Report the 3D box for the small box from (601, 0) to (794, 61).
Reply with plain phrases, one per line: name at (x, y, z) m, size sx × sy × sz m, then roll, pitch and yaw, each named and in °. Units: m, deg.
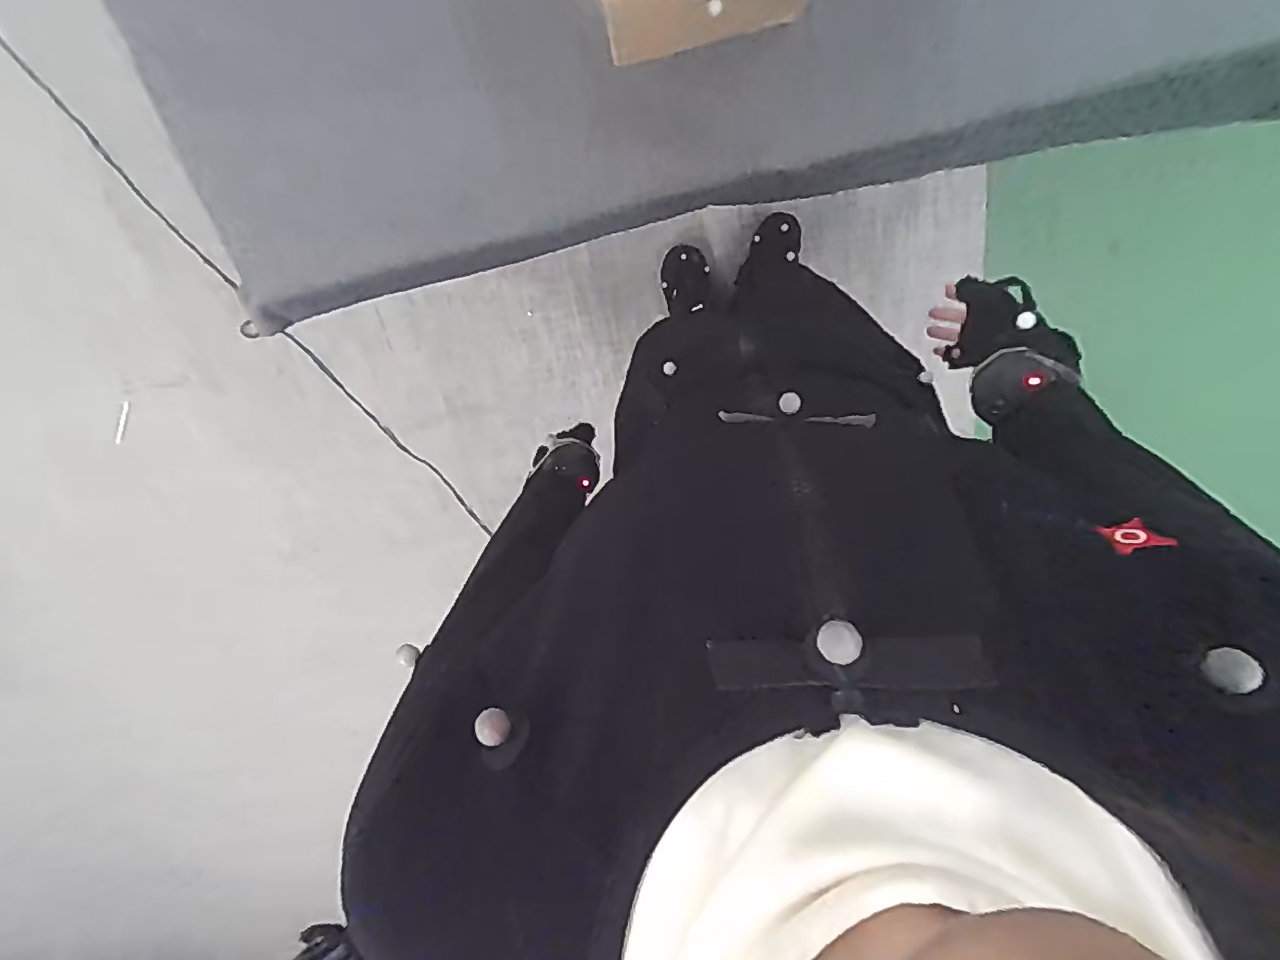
small box at (0.042, -0.453, 0.409) m, size 0.179 × 0.176 × 0.168 m, roll -11°, pitch 115°, yaw 5°
